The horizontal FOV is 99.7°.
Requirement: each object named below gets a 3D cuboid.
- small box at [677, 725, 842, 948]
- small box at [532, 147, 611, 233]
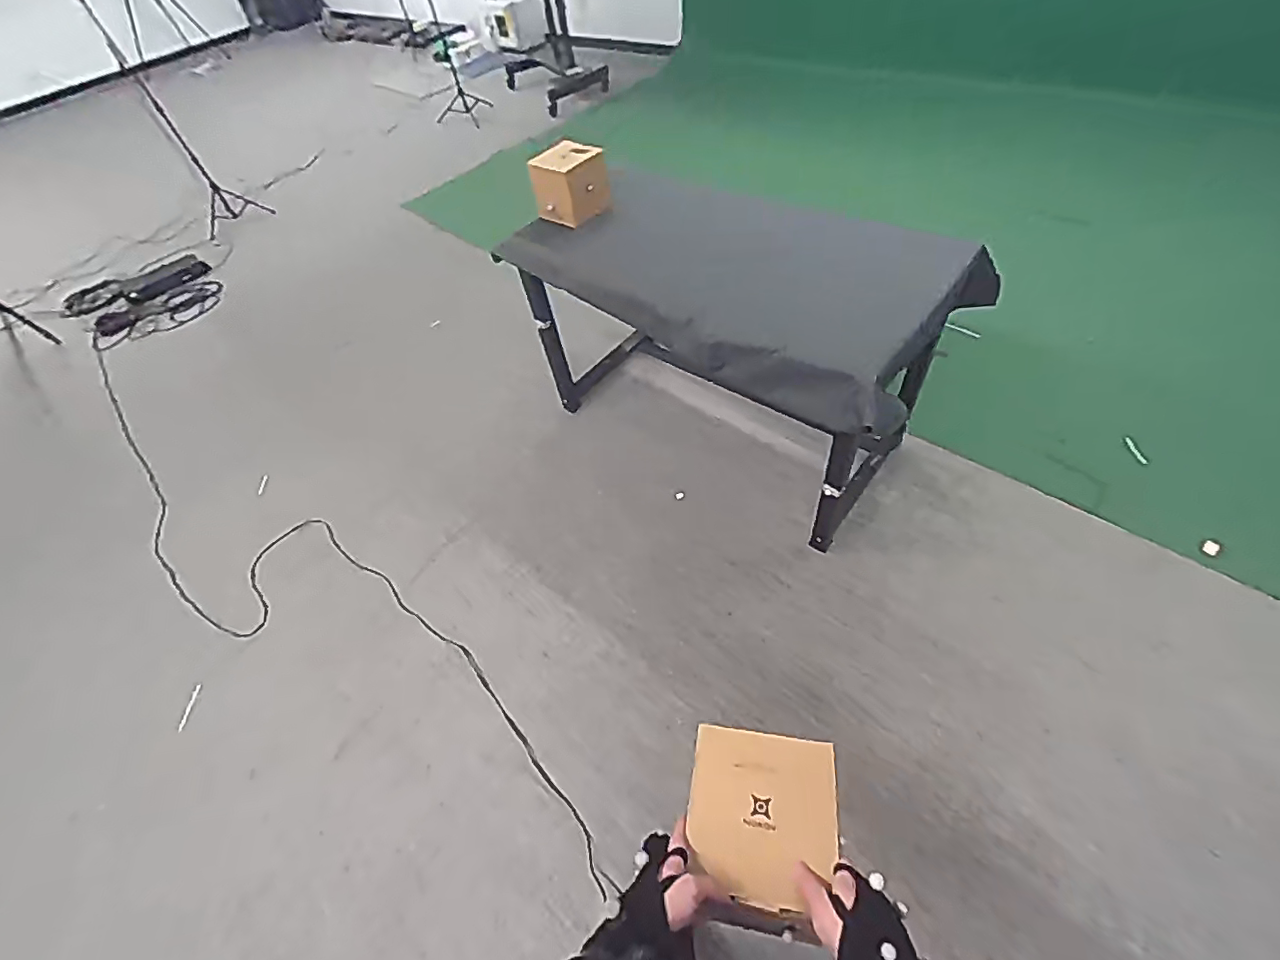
[{"bbox_3d":[0.143,0.426,0.649,0.168,0.176,0.179,3,43,13],"label":"small box"},{"bbox_3d":[-0.205,-0.905,1.687,0.168,0.176,0.179,30,61,28],"label":"small box"}]
